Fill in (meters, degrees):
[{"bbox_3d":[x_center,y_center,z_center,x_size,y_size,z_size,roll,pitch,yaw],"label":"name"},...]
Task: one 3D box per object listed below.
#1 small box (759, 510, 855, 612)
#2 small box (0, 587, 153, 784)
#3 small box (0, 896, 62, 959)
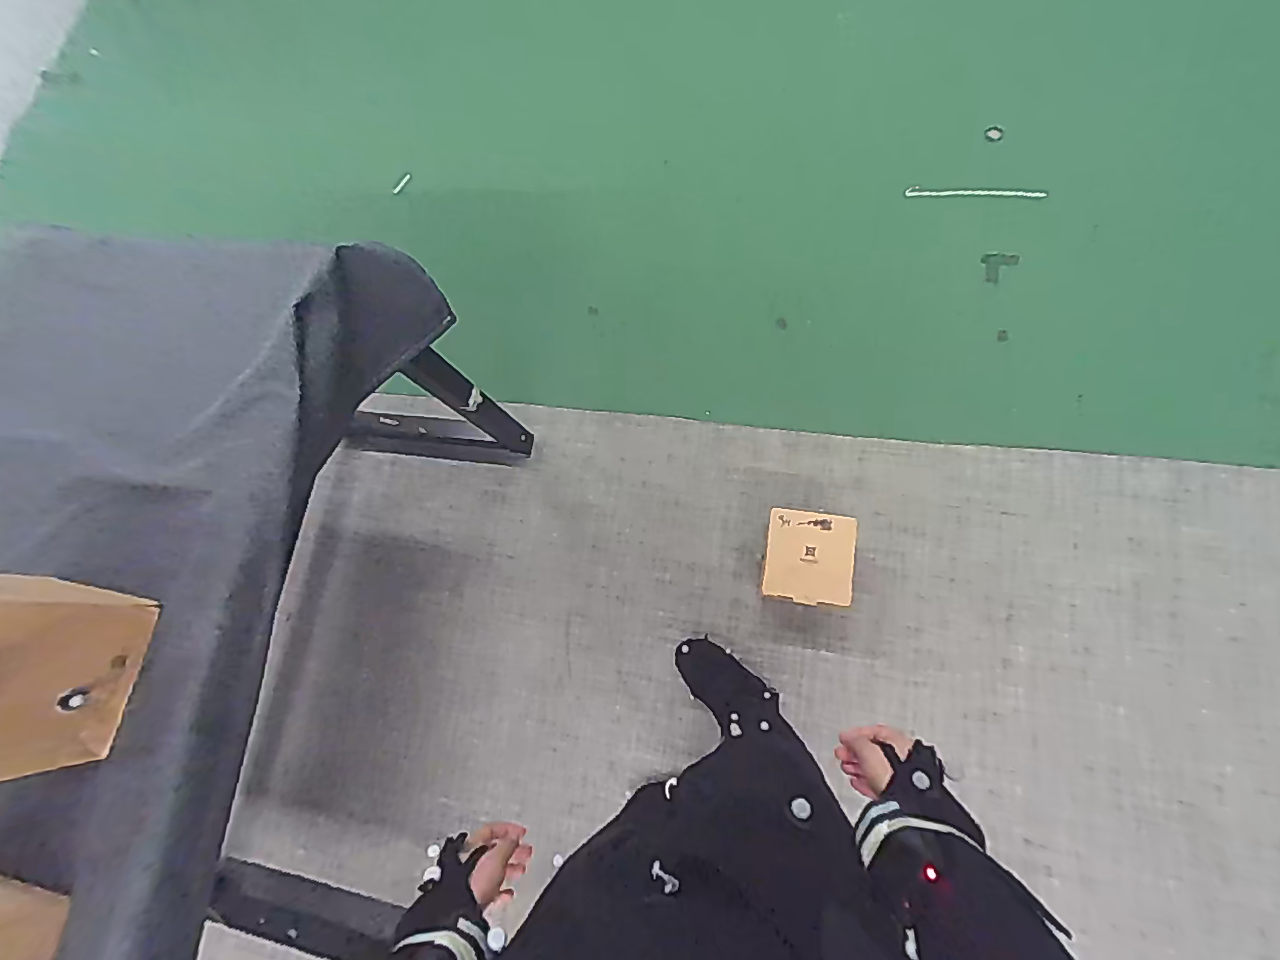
[{"bbox_3d":[0.337,0.171,1.115,0.168,0.176,0.179,7,78,12],"label":"small box"},{"bbox_3d":[-0.651,0.196,0.528,0.179,0.176,0.168,7,77,12],"label":"small box"},{"bbox_3d":[-0.673,0.479,0.455,0.179,0.176,0.168,4,76,11],"label":"small box"}]
